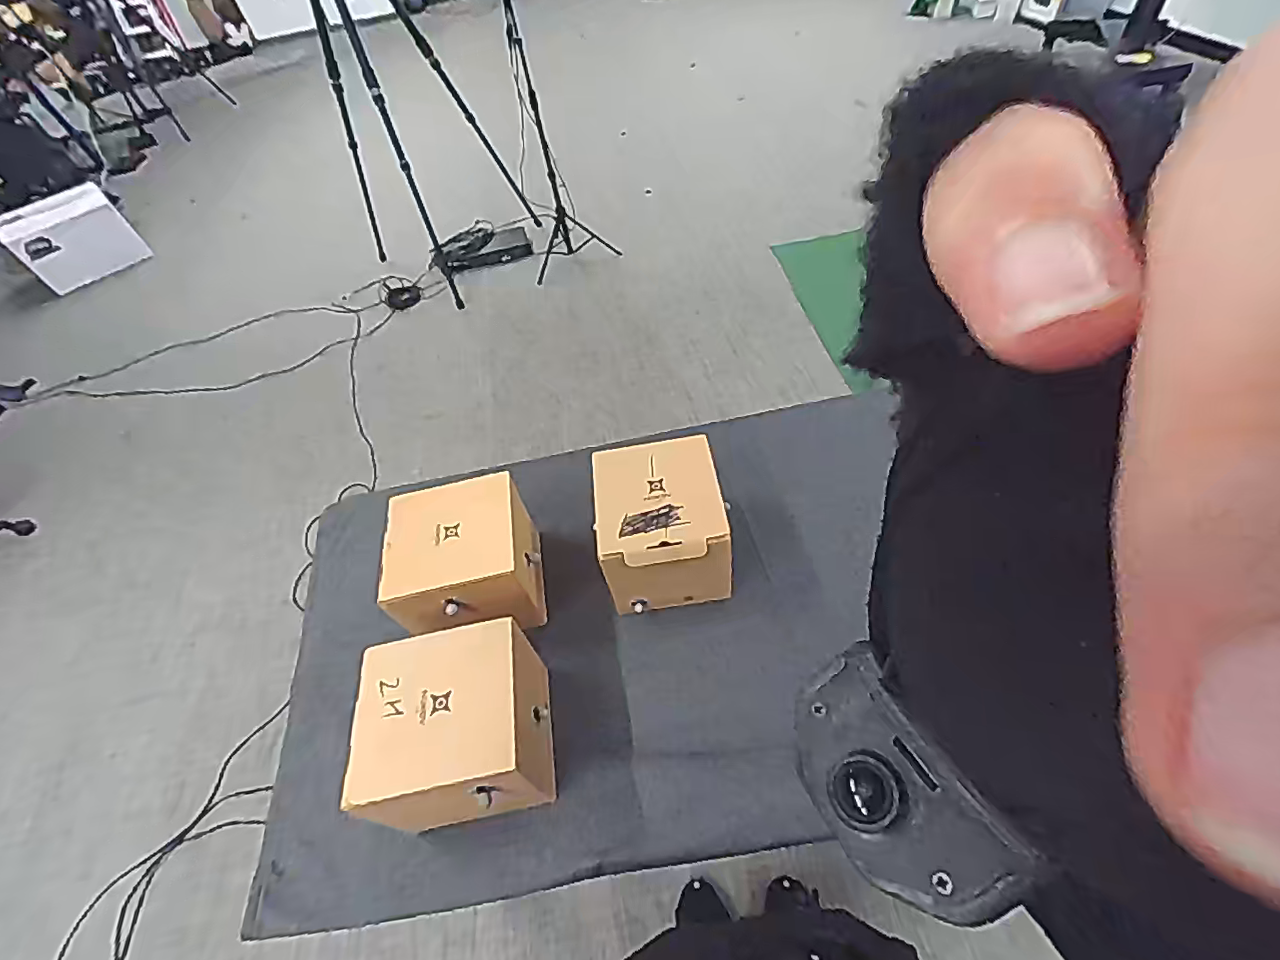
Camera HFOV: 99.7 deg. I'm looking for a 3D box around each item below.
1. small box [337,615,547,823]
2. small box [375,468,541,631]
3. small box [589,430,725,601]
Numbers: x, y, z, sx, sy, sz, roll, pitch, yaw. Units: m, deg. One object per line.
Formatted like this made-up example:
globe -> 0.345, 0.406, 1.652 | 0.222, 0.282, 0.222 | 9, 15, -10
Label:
small box -> -0.212, 0.282, 0.632 | 0.179, 0.176, 0.168 | -12, 50, -1
small box -> -0.246, 0.112, 0.774 | 0.179, 0.176, 0.168 | -14, 52, 0
small box -> 0.026, 0.059, 0.768 | 0.168, 0.176, 0.179 | -9, 51, 2
